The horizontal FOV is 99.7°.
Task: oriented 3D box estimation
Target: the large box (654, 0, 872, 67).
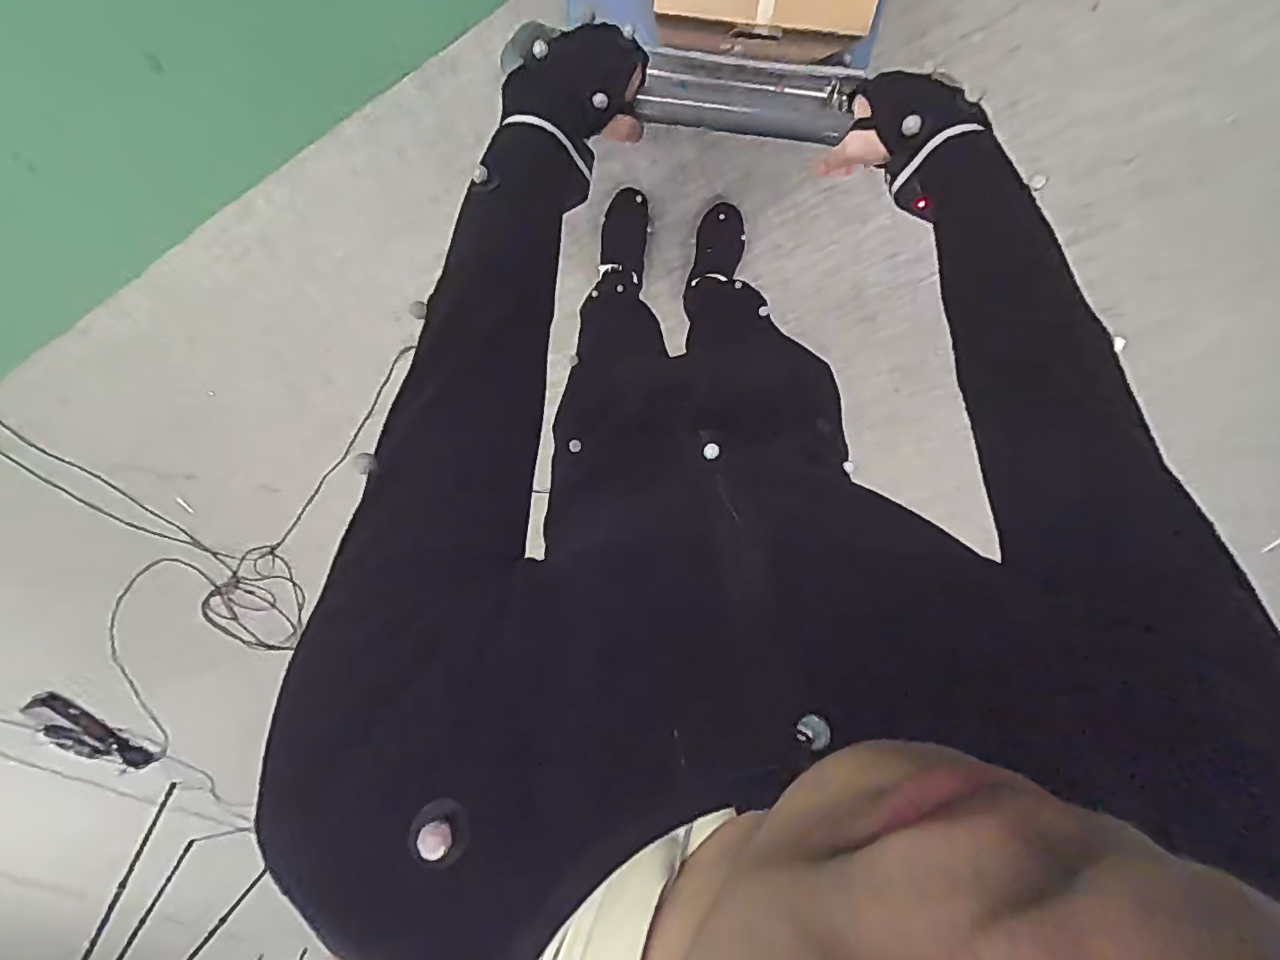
[{"bbox_3d":[0.199,-0.899,0.817,0.320,0.320,0.408,6,123,-1],"label":"large box"}]
